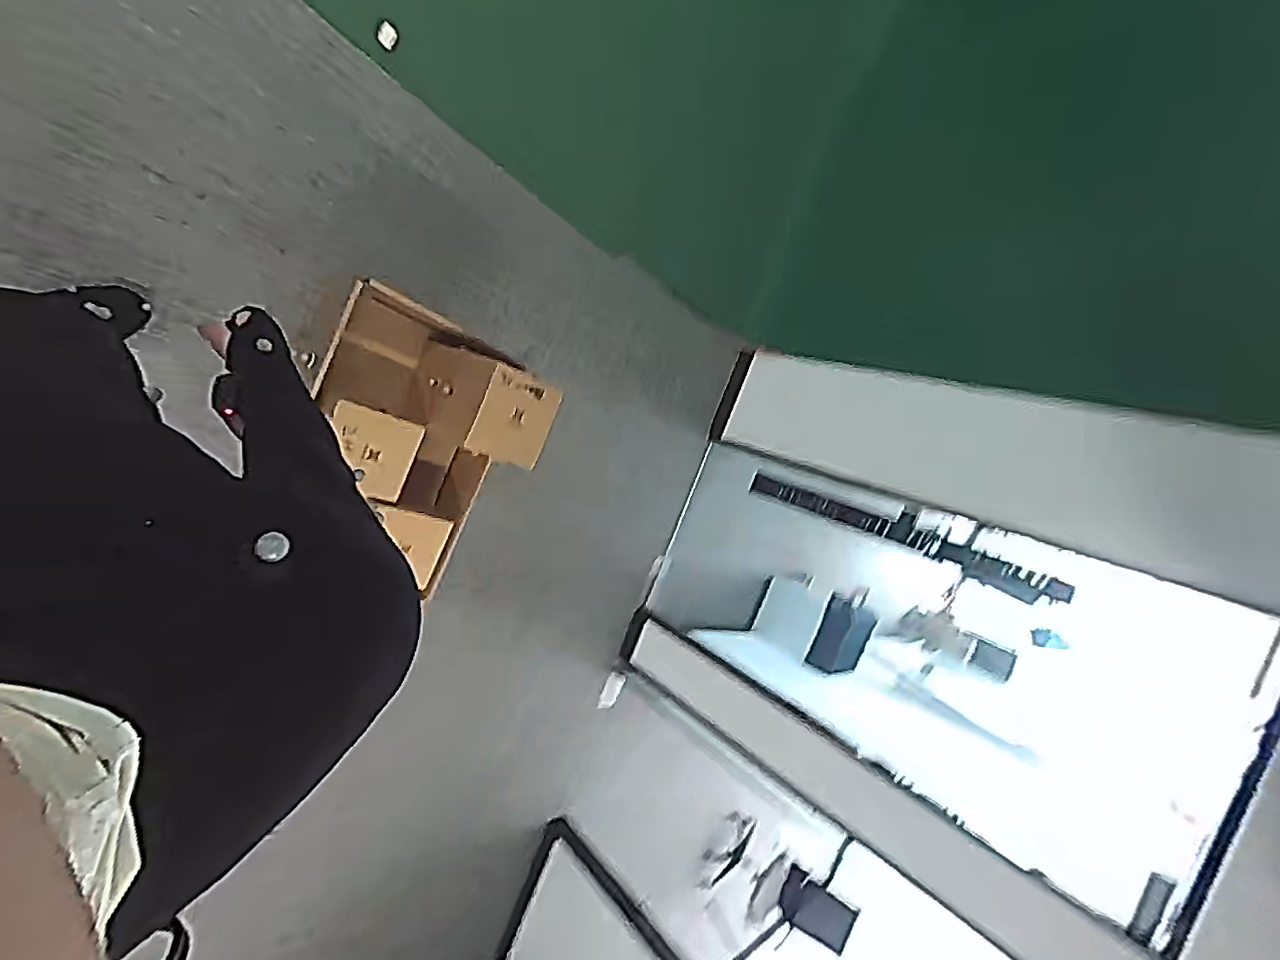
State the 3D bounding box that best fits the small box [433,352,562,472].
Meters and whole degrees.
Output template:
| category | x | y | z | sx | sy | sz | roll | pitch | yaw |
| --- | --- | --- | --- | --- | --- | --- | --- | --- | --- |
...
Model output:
| category | x | y | z | sx | sy | sz | roll | pitch | yaw |
| --- | --- | --- | --- | --- | --- | --- | --- | --- | --- |
| small box | -0.298 | -0.140 | 1.107 | 0.168 | 0.176 | 0.179 | 23 | 91 | -48 |
